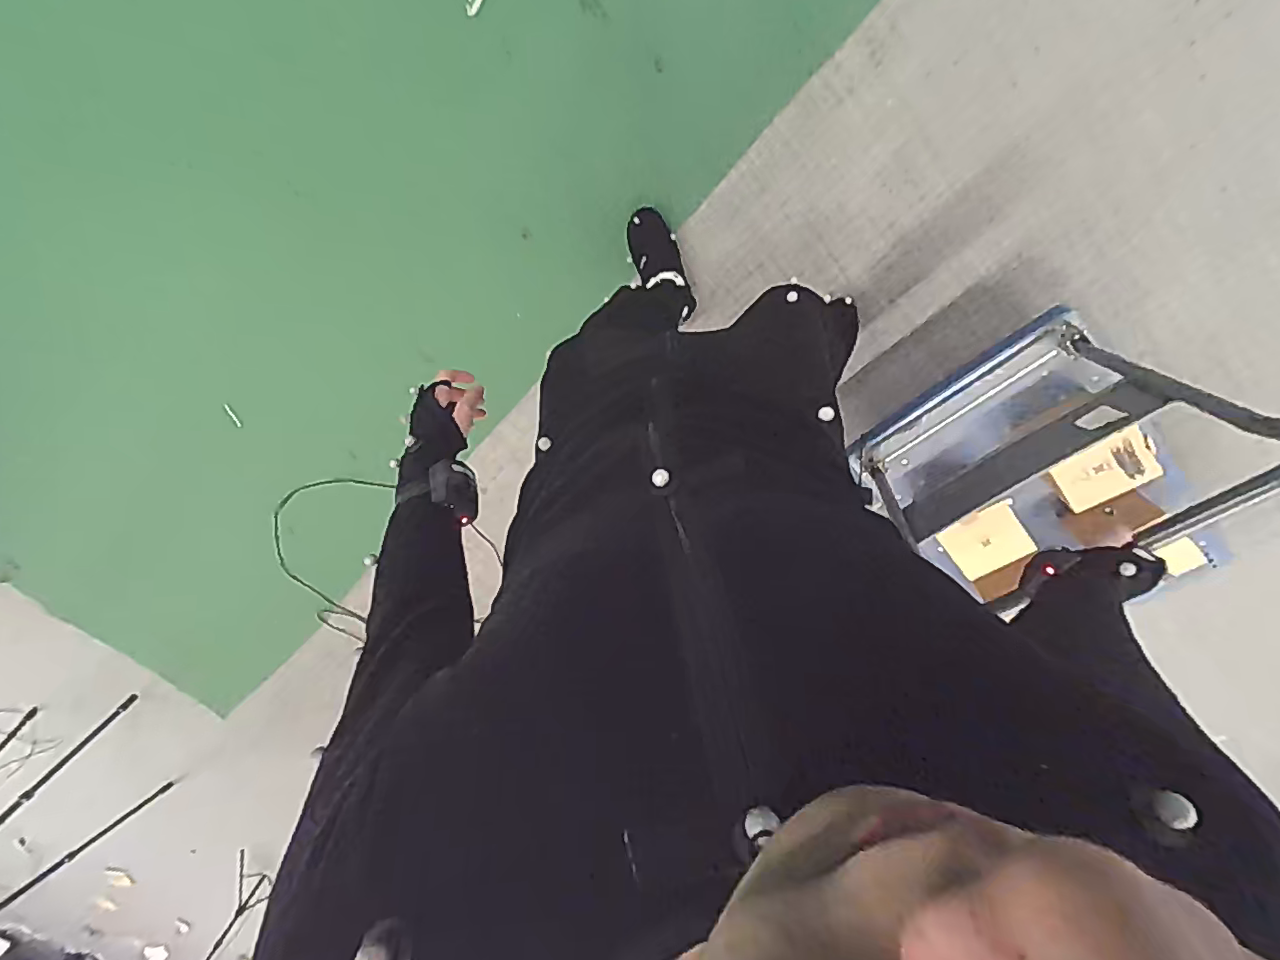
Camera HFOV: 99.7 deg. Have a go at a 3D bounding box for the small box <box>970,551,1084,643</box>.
[{"bbox_3d":[0.988,0.282,1.408,0.179,0.176,0.168,44,116,-13],"label":"small box"}]

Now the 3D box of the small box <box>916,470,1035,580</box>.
[{"bbox_3d":[0.824,0.107,1.344,0.168,0.176,0.179,-36,107,25],"label":"small box"}]

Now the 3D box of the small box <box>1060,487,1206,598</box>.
[{"bbox_3d":[1.169,0.140,1.299,0.179,0.176,0.168,42,118,-13],"label":"small box"}]
